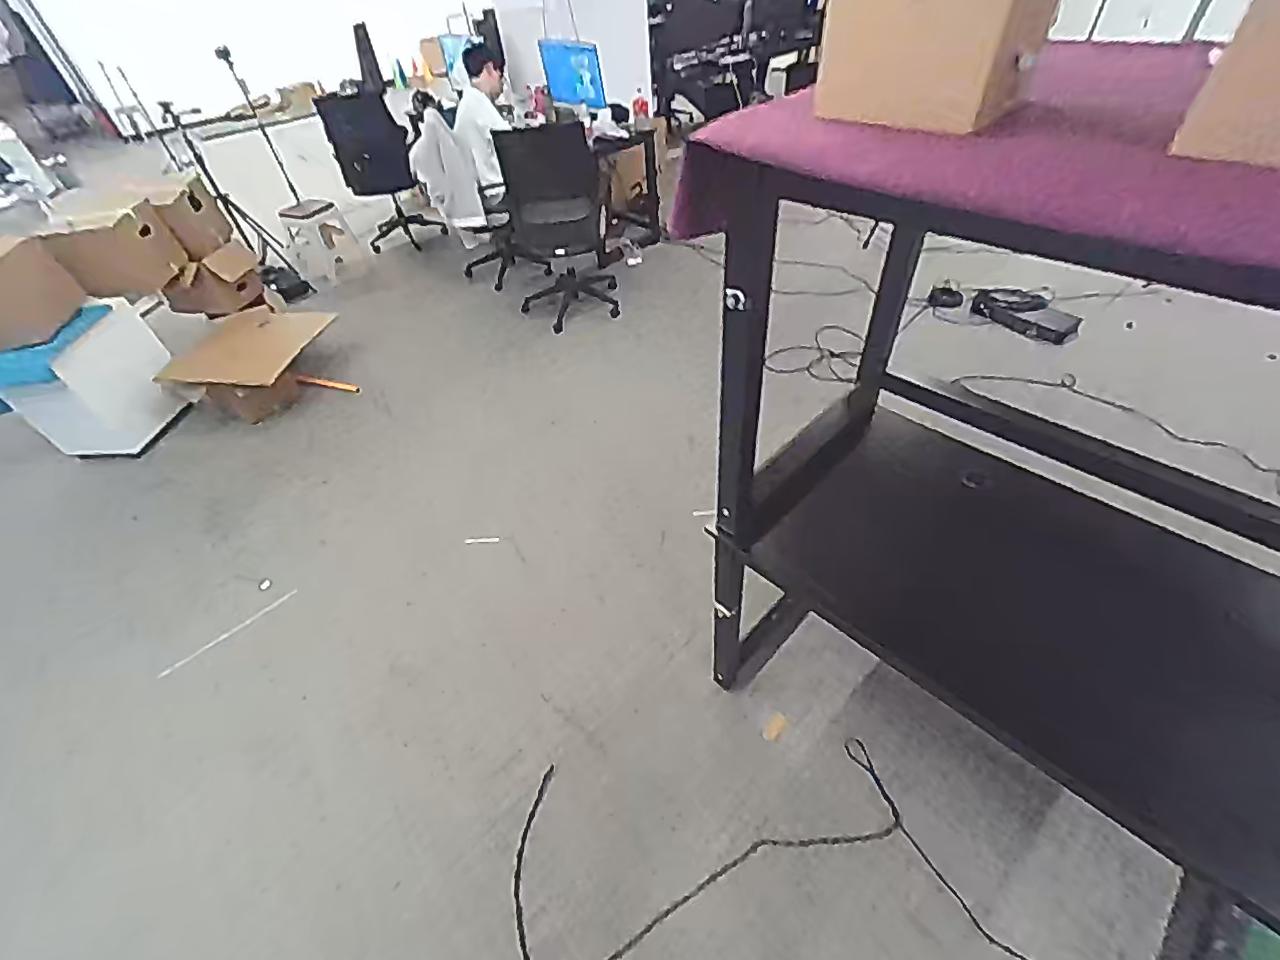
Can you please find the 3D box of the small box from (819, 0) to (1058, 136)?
[{"bbox_3d":[0.310,-0.476,0.563,0.179,0.176,0.168,32,56,31],"label":"small box"}]
